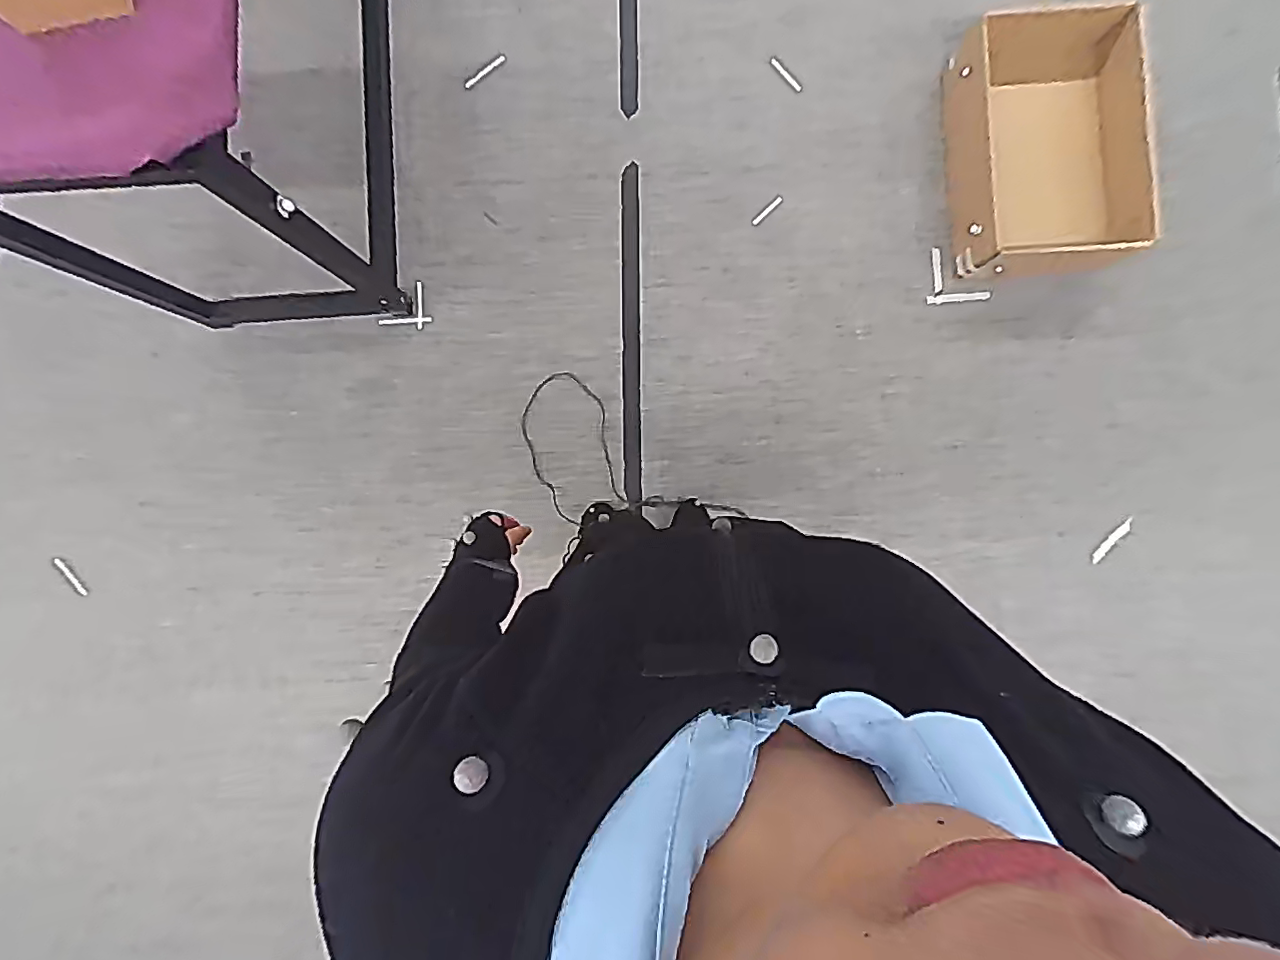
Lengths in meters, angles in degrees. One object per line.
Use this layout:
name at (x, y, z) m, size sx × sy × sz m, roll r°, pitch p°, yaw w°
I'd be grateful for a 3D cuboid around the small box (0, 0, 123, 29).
small box at (-0.856, -0.772, 0.737) m, size 0.179 × 0.176 × 0.168 m, roll -10°, pitch 88°, yaw 1°
